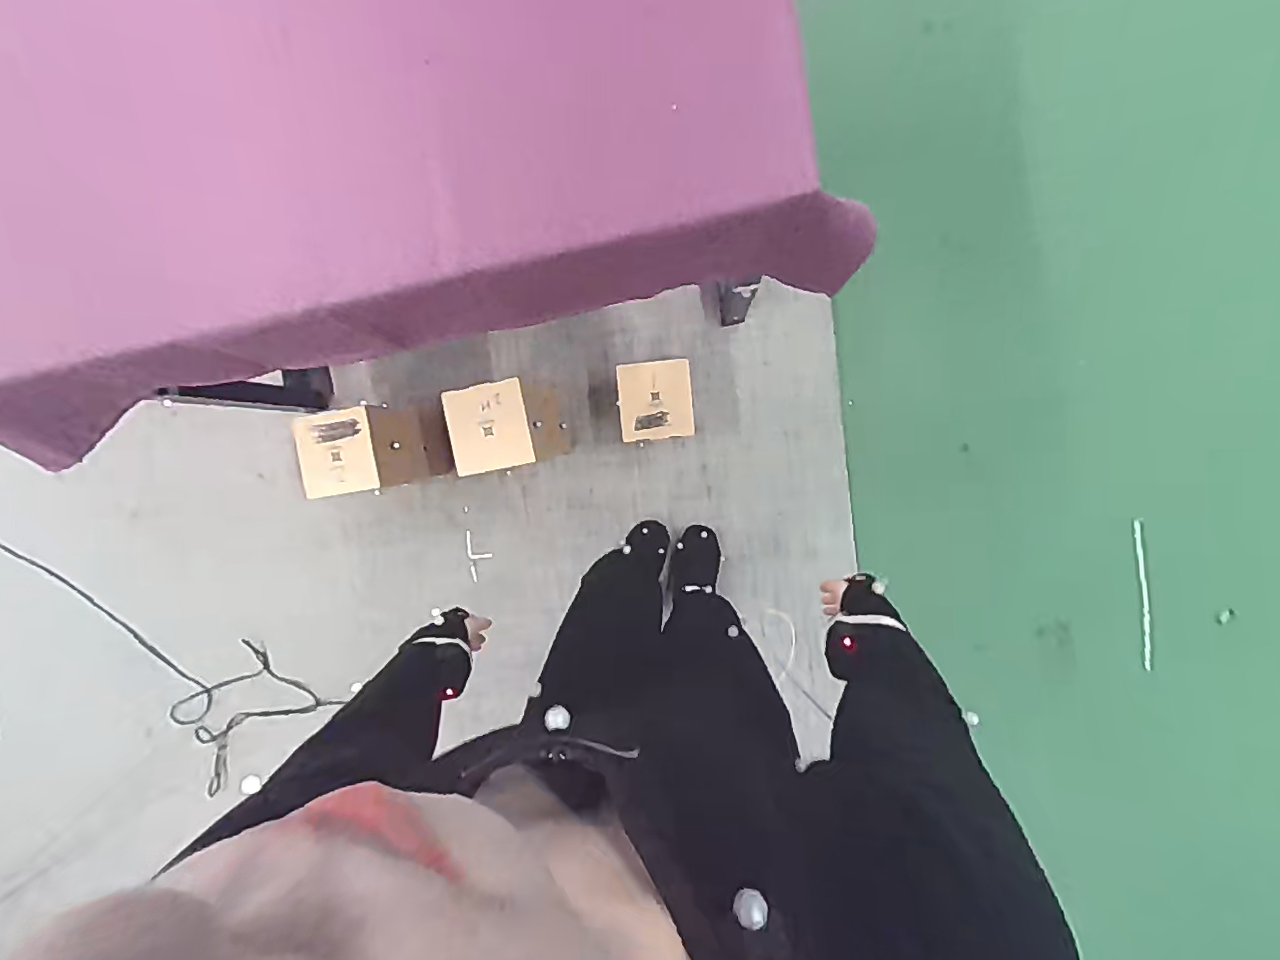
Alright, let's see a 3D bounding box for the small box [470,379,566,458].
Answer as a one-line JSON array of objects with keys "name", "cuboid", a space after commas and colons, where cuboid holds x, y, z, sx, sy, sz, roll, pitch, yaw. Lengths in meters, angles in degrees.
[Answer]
[{"name": "small box", "cuboid": [-0.295, -0.146, 1.335, 0.179, 0.176, 0.168, -9, 94, 5]}]
